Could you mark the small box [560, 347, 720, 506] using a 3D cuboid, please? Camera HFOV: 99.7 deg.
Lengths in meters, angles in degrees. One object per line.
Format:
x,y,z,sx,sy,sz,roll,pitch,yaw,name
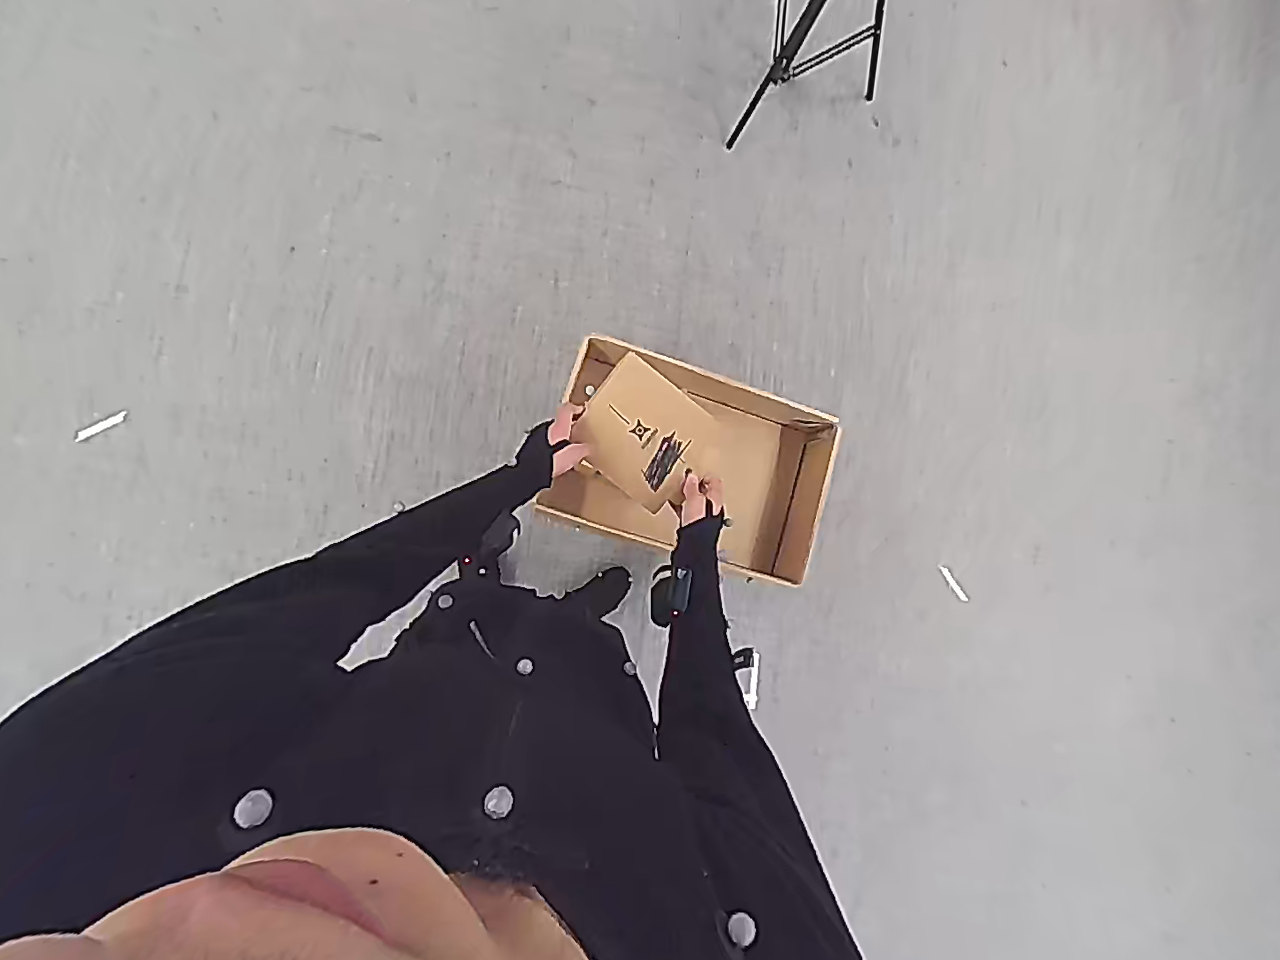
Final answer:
-0.007,-0.086,0.852,0.179,0.176,0.168,38,92,-9,small box
